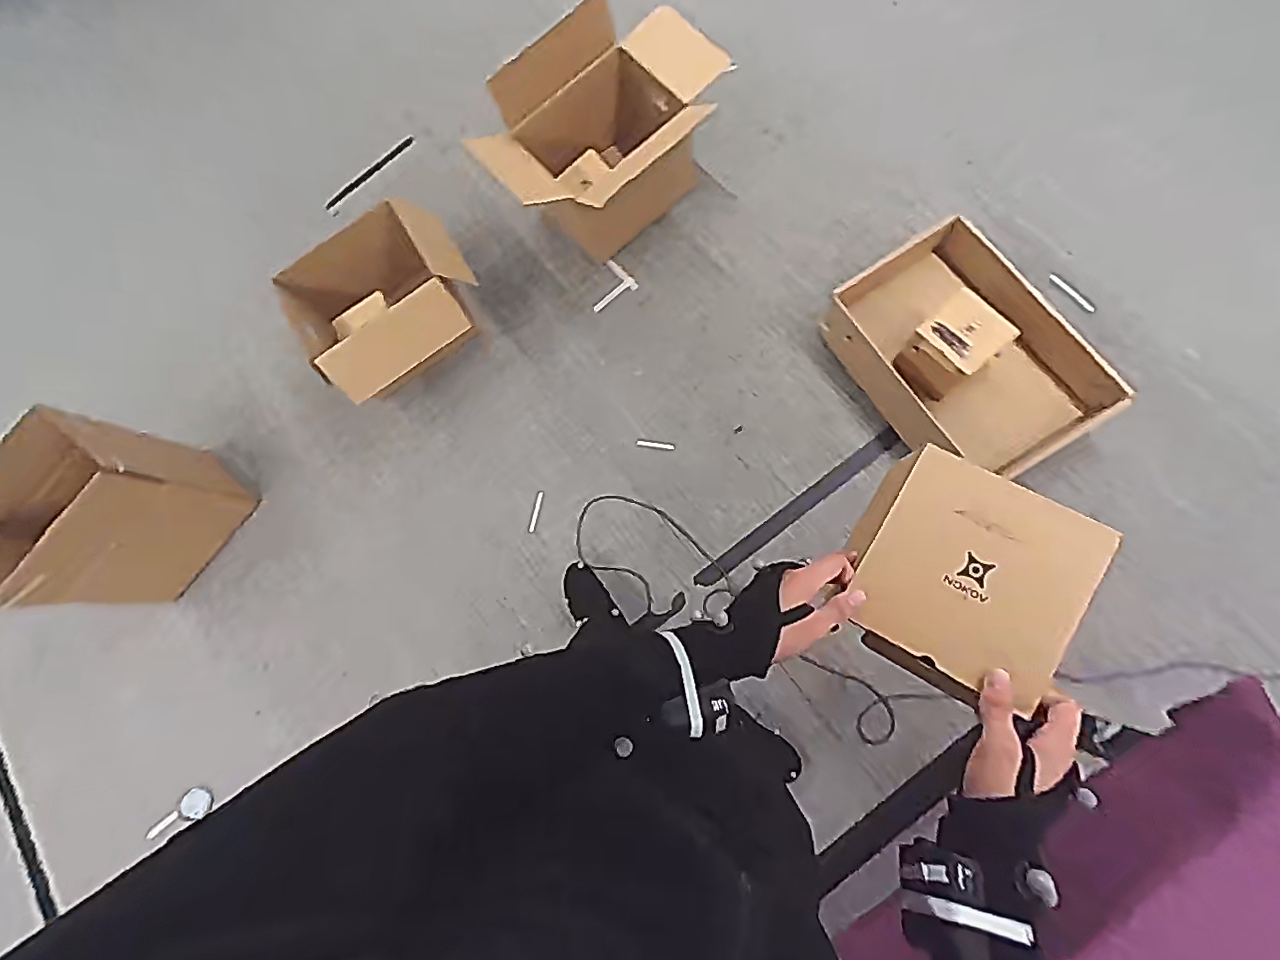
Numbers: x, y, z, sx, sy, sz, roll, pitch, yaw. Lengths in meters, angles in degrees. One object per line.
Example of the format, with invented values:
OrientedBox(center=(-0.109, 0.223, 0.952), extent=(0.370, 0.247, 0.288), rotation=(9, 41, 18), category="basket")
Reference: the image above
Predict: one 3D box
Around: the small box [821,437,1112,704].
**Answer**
OrientedBox(center=(0.297, 0.081, 0.540), extent=(0.168, 0.176, 0.179), rotation=(30, 93, 16), category="small box")
